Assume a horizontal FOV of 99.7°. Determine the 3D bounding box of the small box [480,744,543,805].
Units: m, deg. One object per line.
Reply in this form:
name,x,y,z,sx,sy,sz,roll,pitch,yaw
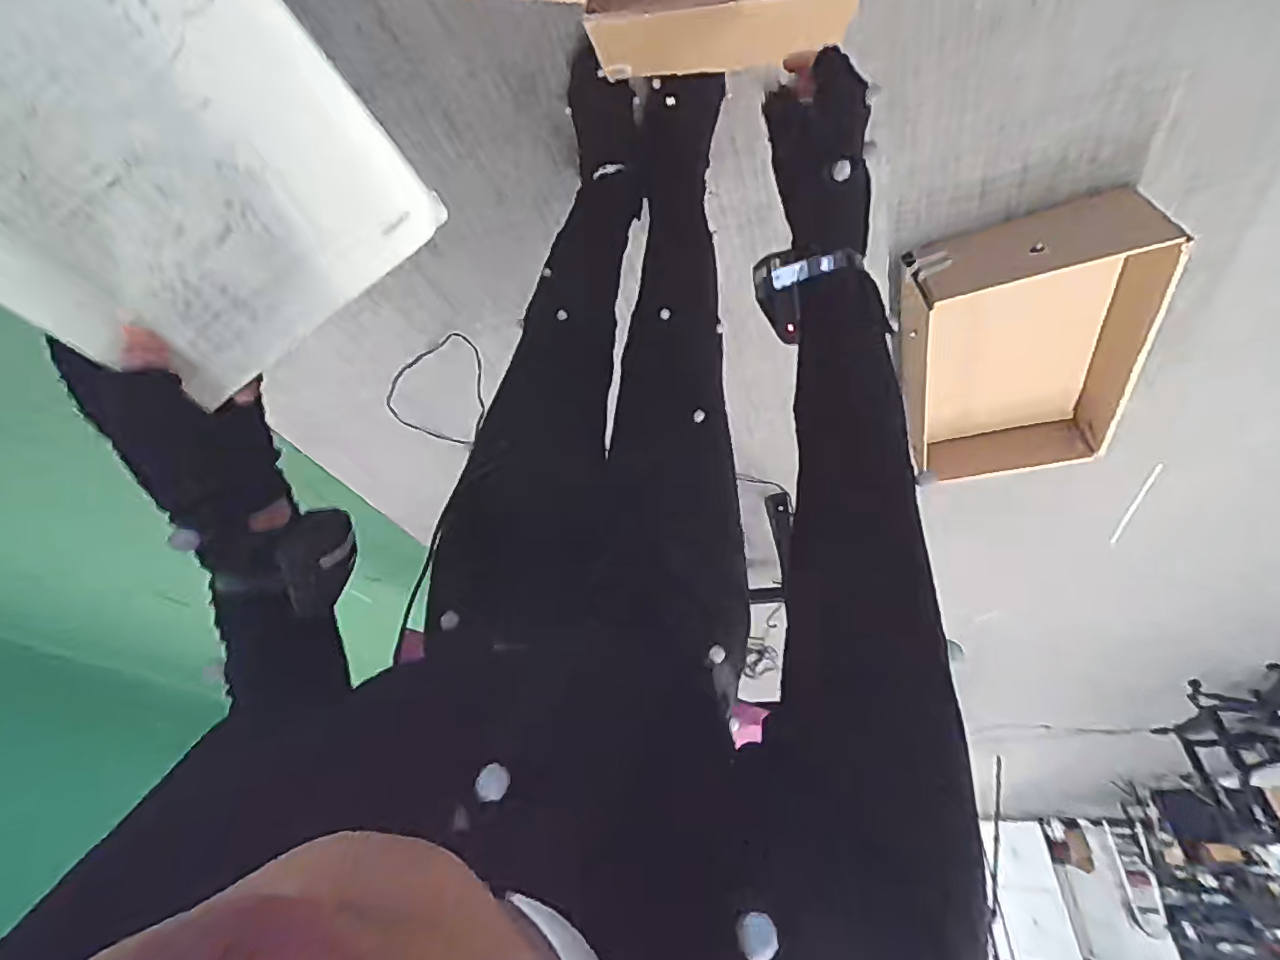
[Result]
small box,-0.430,1.029,1.883,0.168,0.176,0.179,-6,144,11
